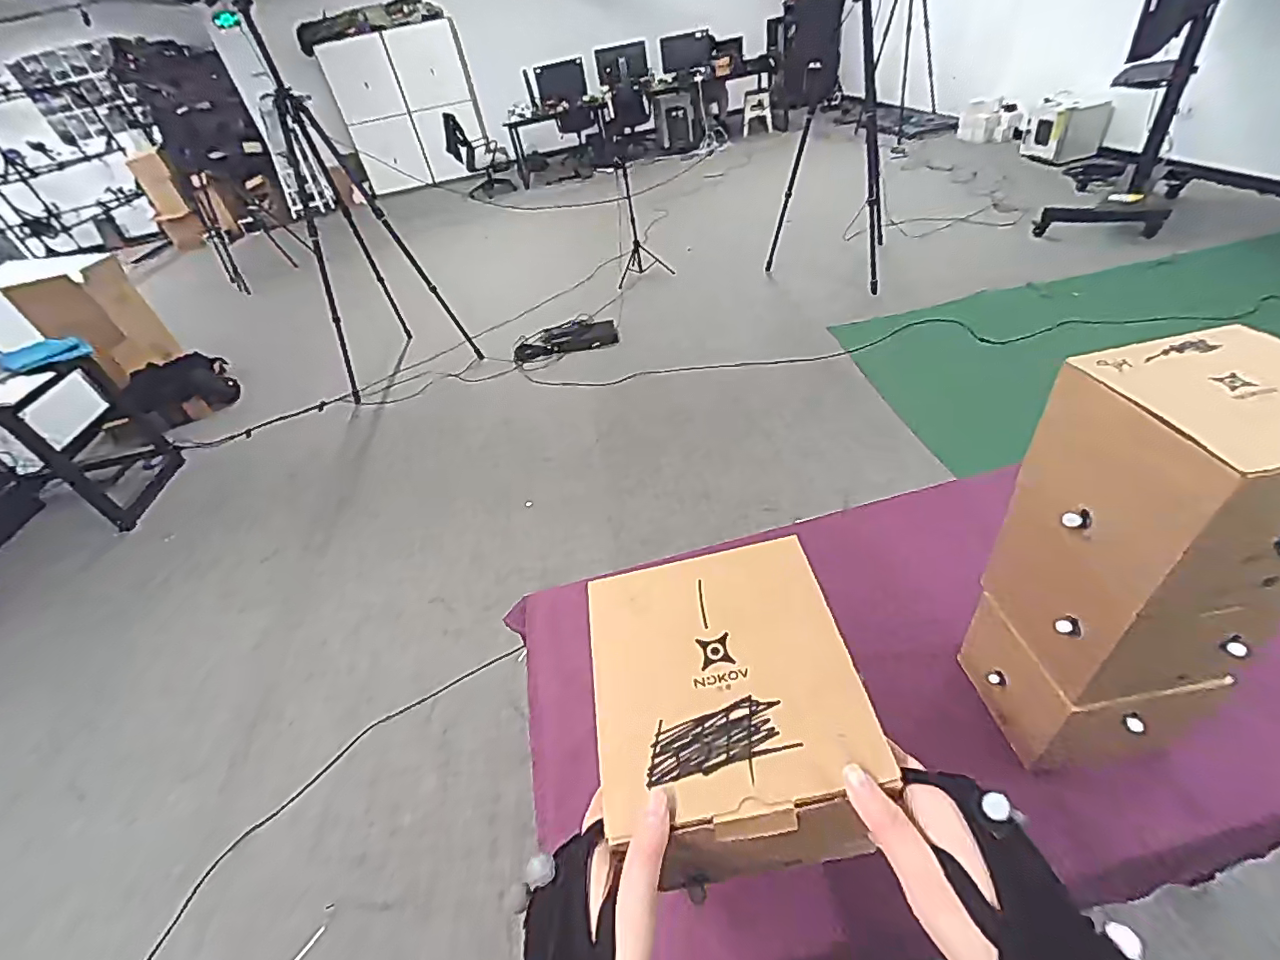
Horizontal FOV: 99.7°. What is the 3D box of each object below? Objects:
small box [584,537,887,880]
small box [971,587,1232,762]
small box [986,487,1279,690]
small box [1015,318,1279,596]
[{"bbox_3d":[0.064,0.176,0.405,0.168,0.176,0.179,-14,43,4],"label":"small box"},{"bbox_3d":[0.551,0.233,0.684,0.179,0.176,0.168,-12,41,3],"label":"small box"},{"bbox_3d":[0.519,0.107,0.587,0.168,0.176,0.179,-12,39,2],"label":"small box"},{"bbox_3d":[0.485,-0.015,0.482,0.168,0.176,0.179,-12,41,1],"label":"small box"}]
